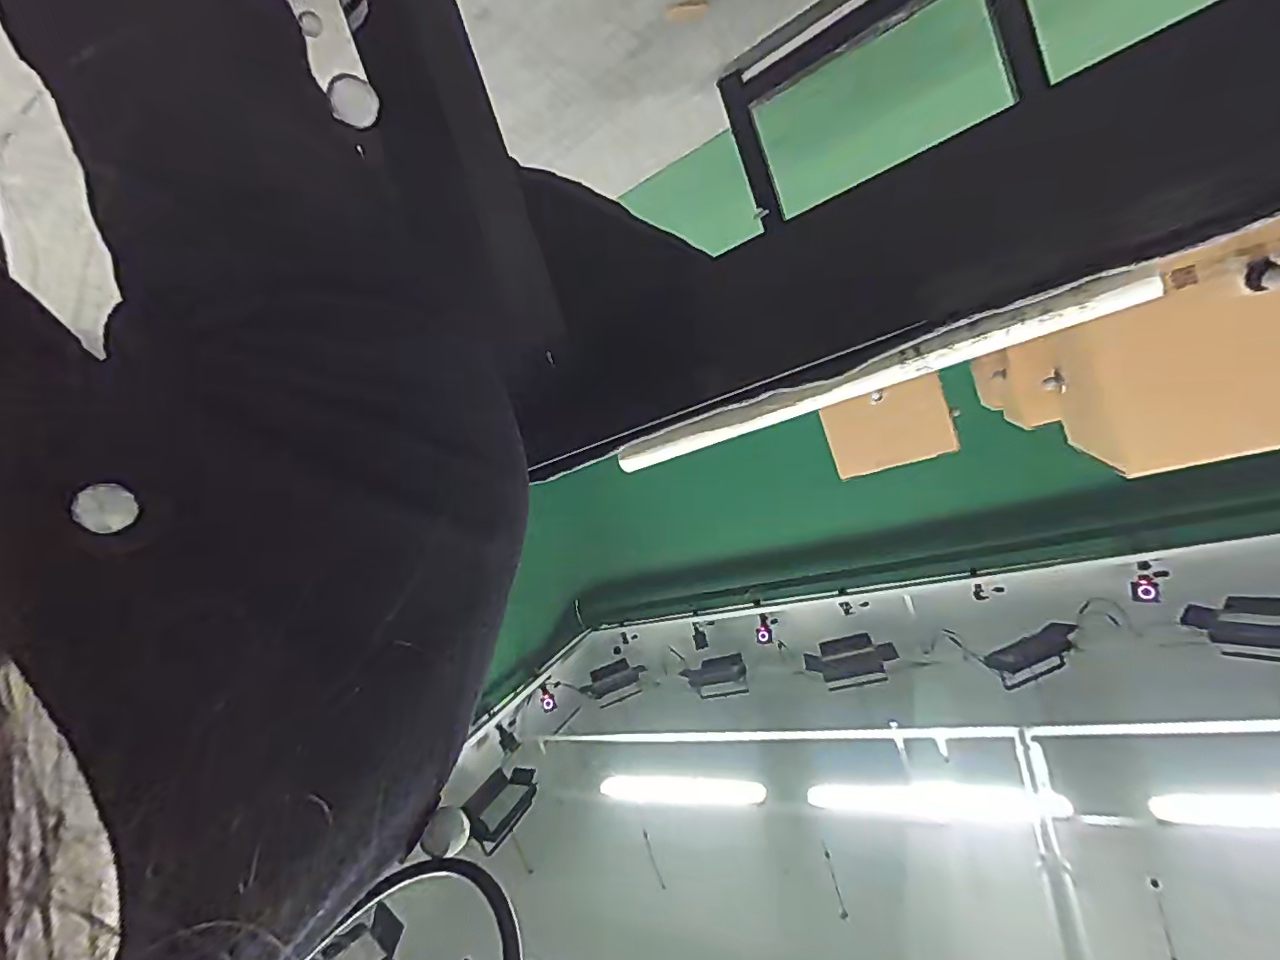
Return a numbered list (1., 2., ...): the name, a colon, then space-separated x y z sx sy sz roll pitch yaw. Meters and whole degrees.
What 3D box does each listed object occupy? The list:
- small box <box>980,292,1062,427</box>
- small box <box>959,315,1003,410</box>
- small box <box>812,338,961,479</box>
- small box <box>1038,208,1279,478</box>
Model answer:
1. small box: 0.595 -0.185 0.744 0.179 0.176 0.168 -17 -176 27
2. small box: 0.720 -0.242 1.000 0.179 0.176 0.168 -16 -176 27
3. small box: 0.388 -0.117 0.858 0.168 0.176 0.179 -18 -177 29
4. small box: 0.469 -0.118 0.461 0.168 0.176 0.179 -17 -175 28
